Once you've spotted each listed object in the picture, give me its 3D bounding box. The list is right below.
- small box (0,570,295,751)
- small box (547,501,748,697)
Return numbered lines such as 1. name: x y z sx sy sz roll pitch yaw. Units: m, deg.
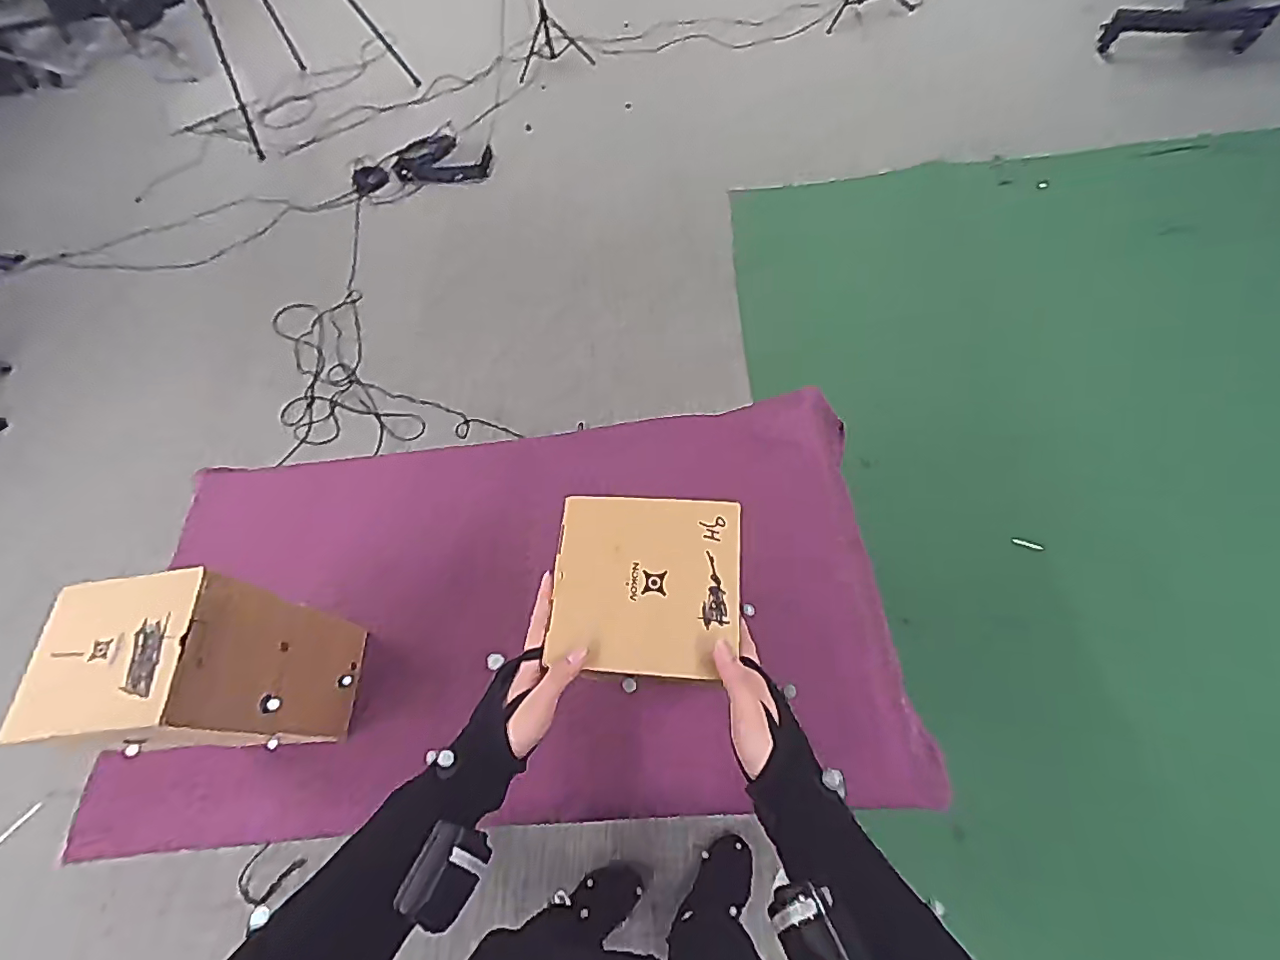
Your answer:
1. small box: -0.546 0.216 0.629 0.179 0.176 0.168 -7 61 2
2. small box: 0.019 0.132 0.571 0.179 0.176 0.168 3 66 8
